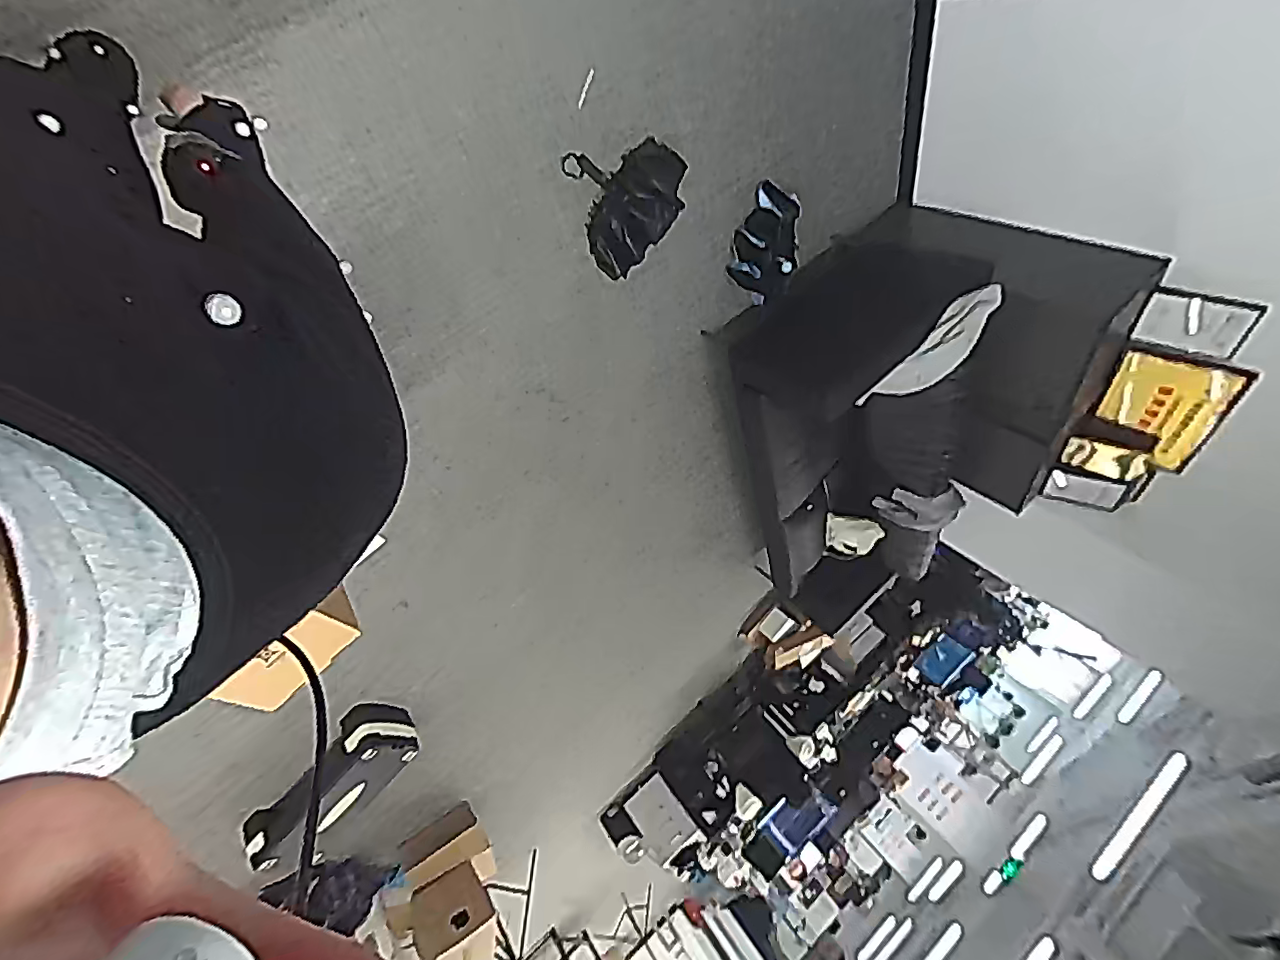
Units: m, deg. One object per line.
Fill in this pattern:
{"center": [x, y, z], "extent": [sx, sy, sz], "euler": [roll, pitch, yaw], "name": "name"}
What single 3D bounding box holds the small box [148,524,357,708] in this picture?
{"center": [-0.557, 0.193, 0.783], "extent": [0.168, 0.176, 0.179], "euler": [-43, 141, -9], "name": "small box"}
